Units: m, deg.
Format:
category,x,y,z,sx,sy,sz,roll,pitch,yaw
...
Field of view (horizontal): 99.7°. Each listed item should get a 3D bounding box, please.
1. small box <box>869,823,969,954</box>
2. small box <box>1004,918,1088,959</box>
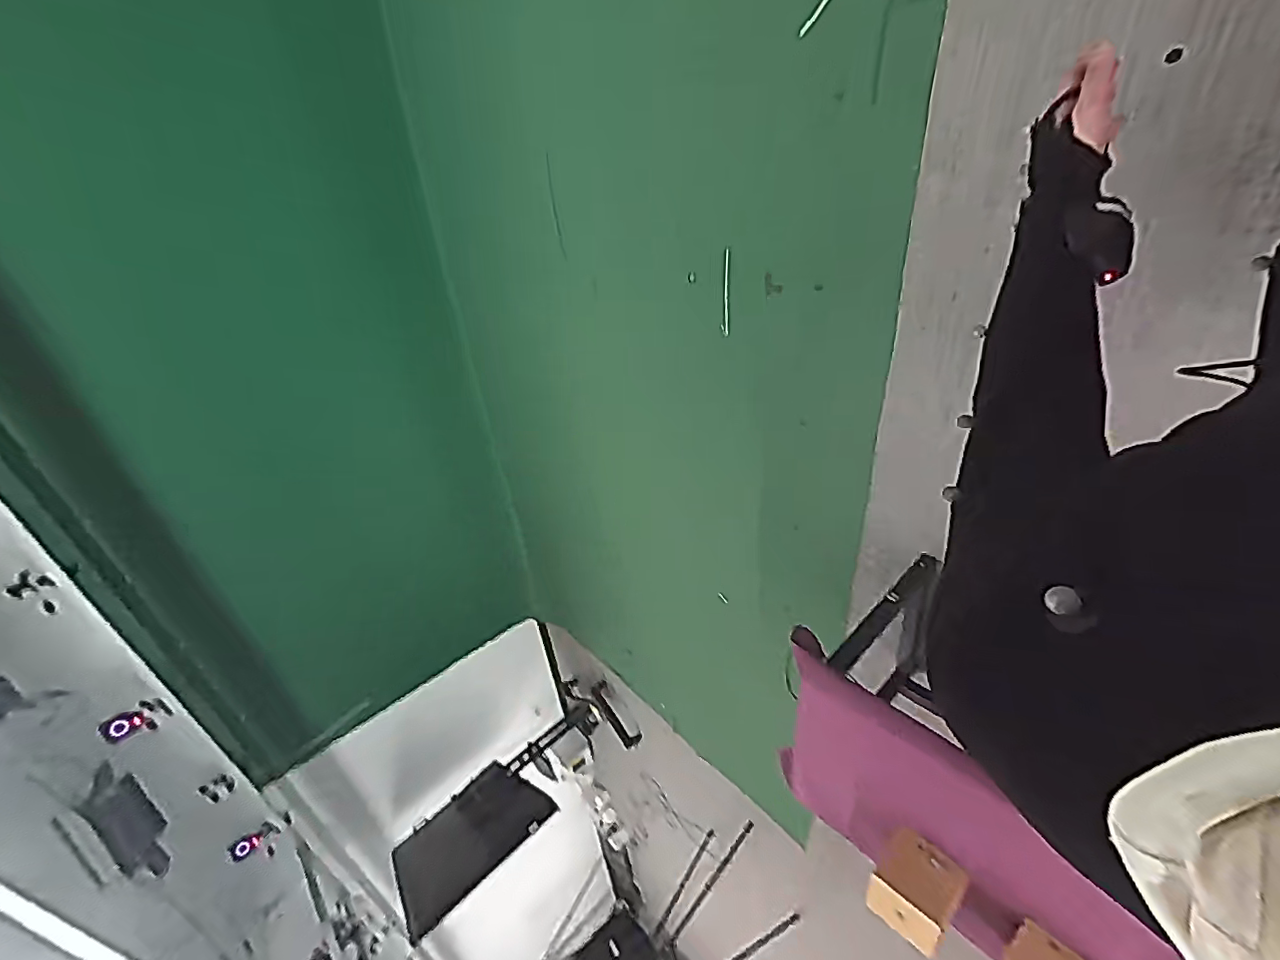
category,x,y,z,sx,sy,sz,roll,pitch,yaw
small box,0.710,1.033,1.378,0.168,0.176,0.179,23,132,42
small box,0.901,1.126,1.189,0.168,0.176,0.179,25,134,42
